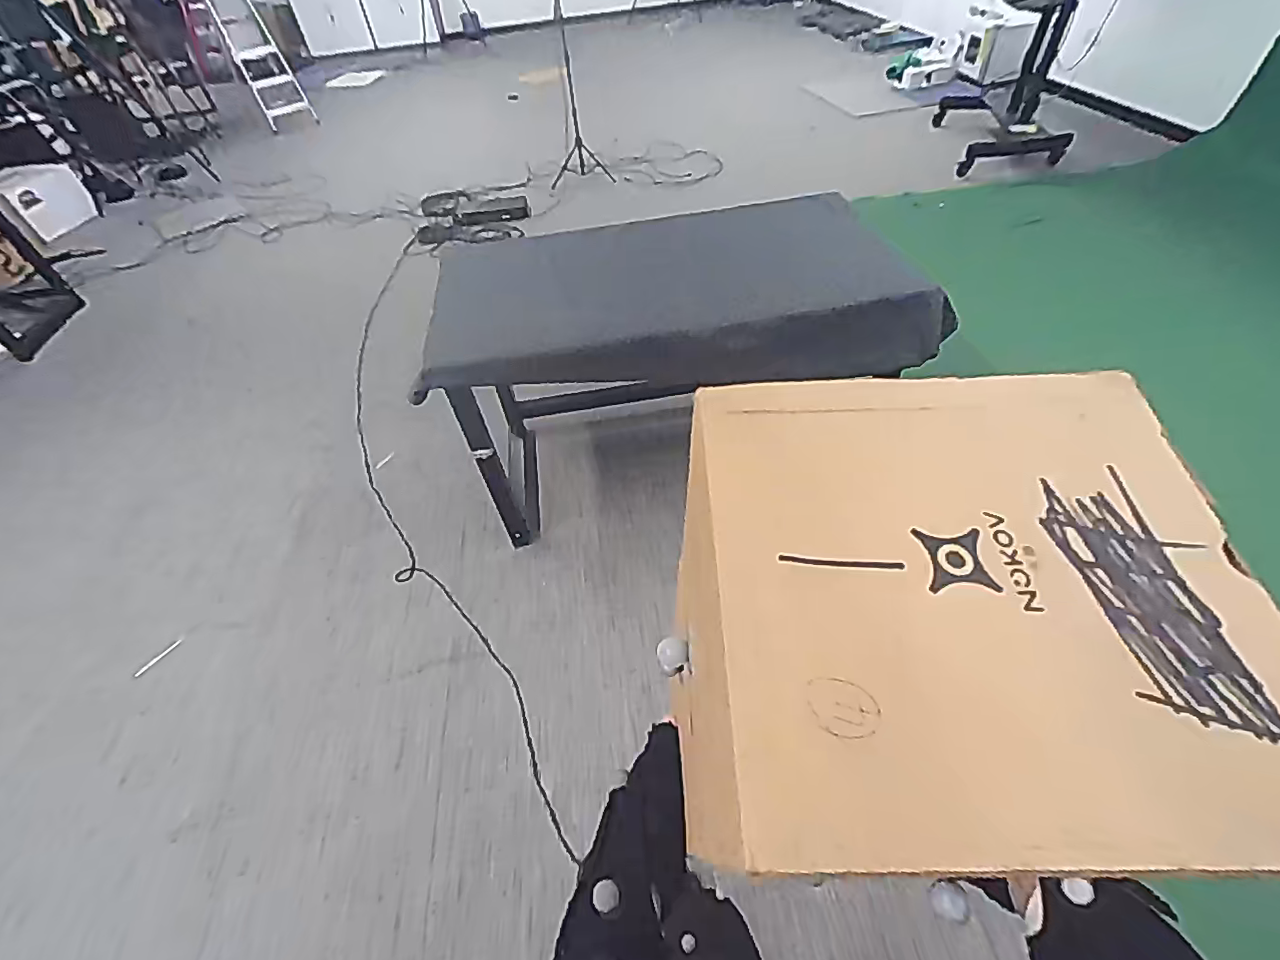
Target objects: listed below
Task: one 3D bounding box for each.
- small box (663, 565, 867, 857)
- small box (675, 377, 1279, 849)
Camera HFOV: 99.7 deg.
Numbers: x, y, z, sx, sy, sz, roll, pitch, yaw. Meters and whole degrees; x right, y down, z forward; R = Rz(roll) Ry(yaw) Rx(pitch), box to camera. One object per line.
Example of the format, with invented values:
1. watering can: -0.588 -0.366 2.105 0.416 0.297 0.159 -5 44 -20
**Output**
1. small box: 0.111 0.164 0.389 0.179 0.176 0.168 -3 56 -1
2. small box: 0.109 0.071 0.252 0.179 0.176 0.168 -1 55 1
